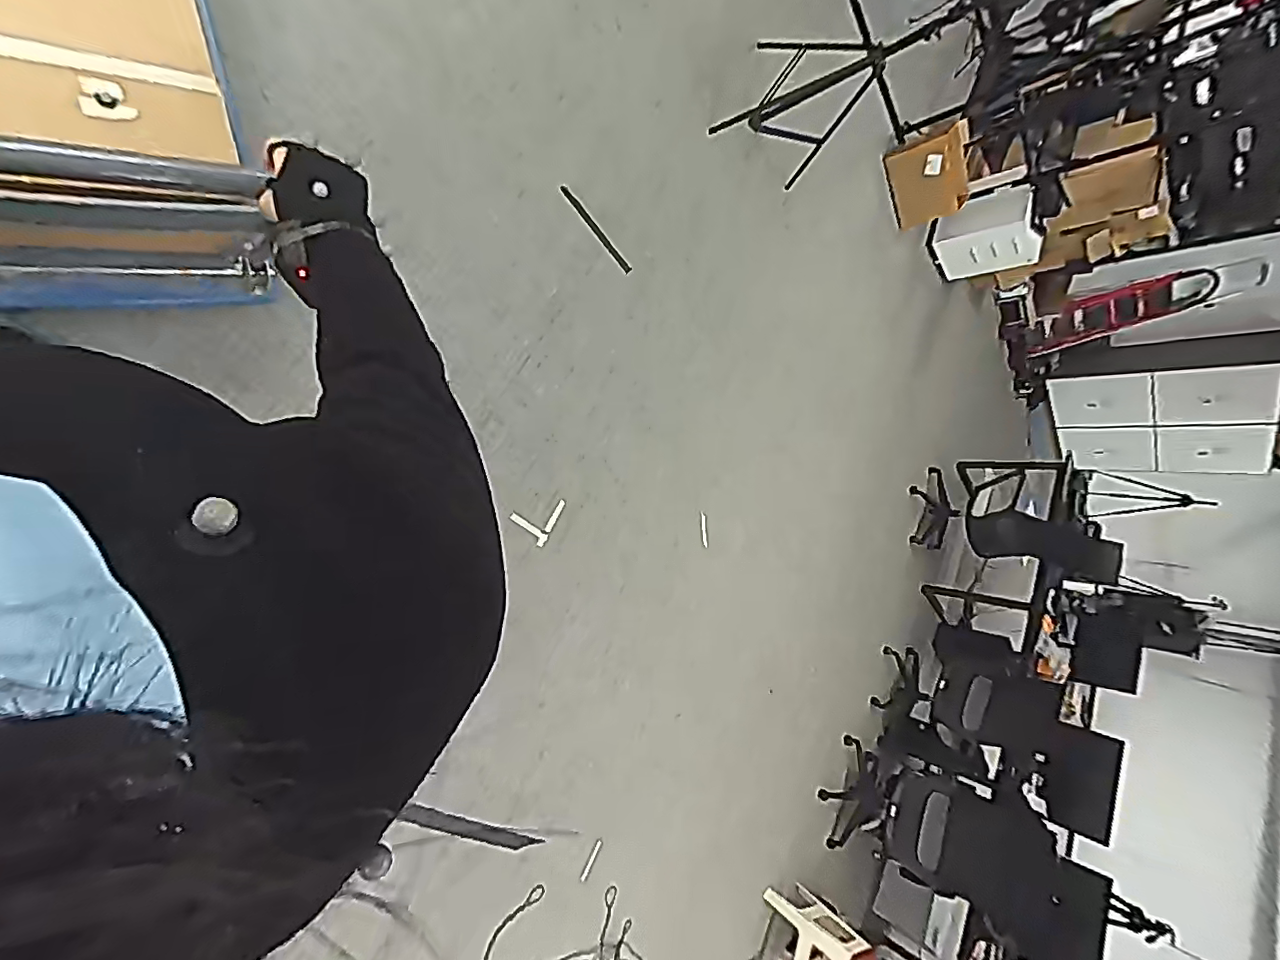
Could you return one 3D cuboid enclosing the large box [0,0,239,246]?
[{"bbox_3d":[-0.886,-0.545,0.781,0.408,0.320,0.320,-19,106,-43],"label":"large box"}]
